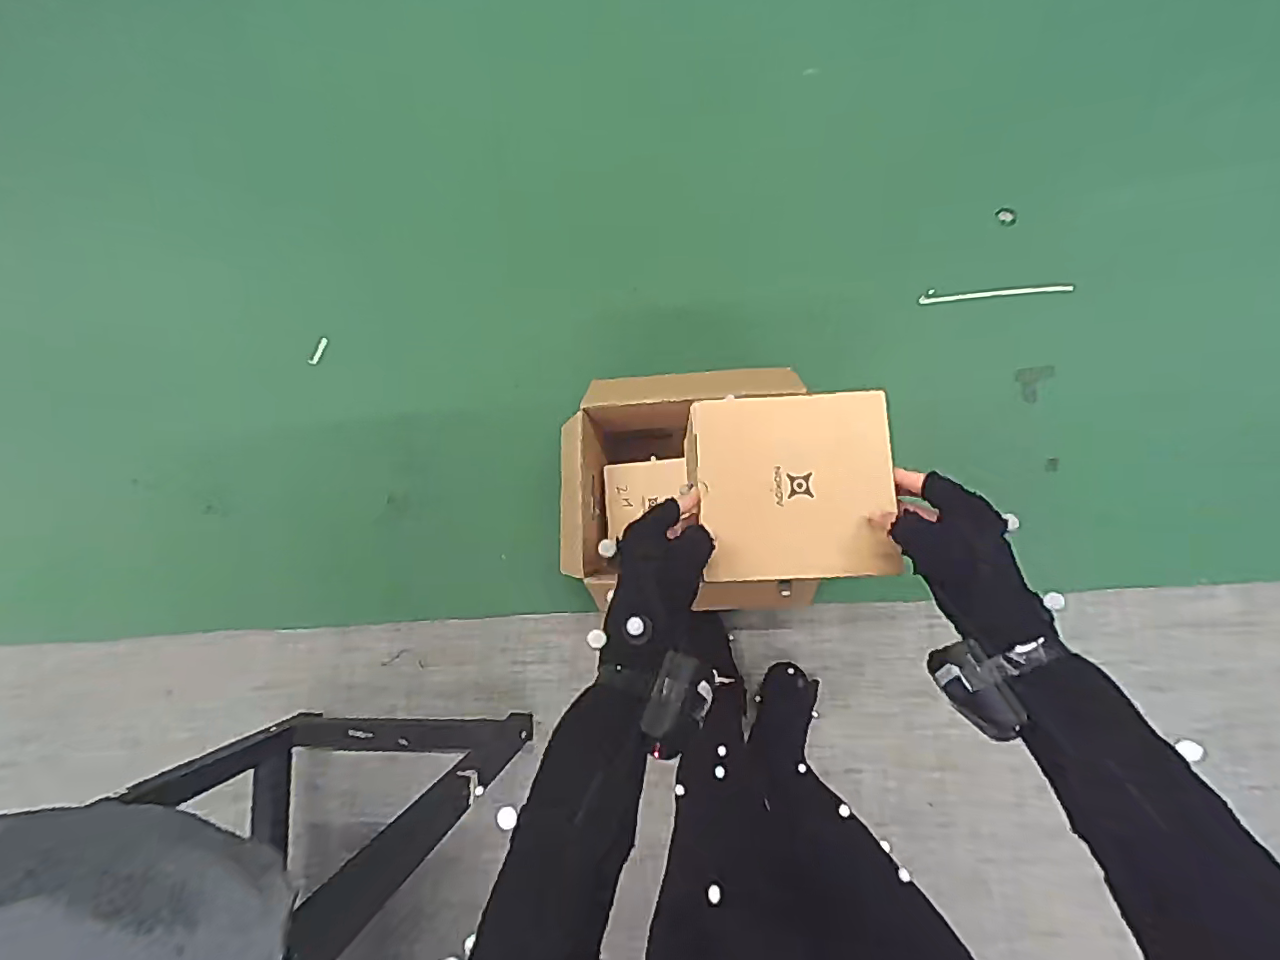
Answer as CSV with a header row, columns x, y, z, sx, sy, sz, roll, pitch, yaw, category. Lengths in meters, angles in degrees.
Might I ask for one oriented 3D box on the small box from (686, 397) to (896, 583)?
x,y,z,sx,sy,sz,roll,pitch,yaw,category
0.141,0.017,0.568,0.179,0.176,0.168,-3,83,4,small box
